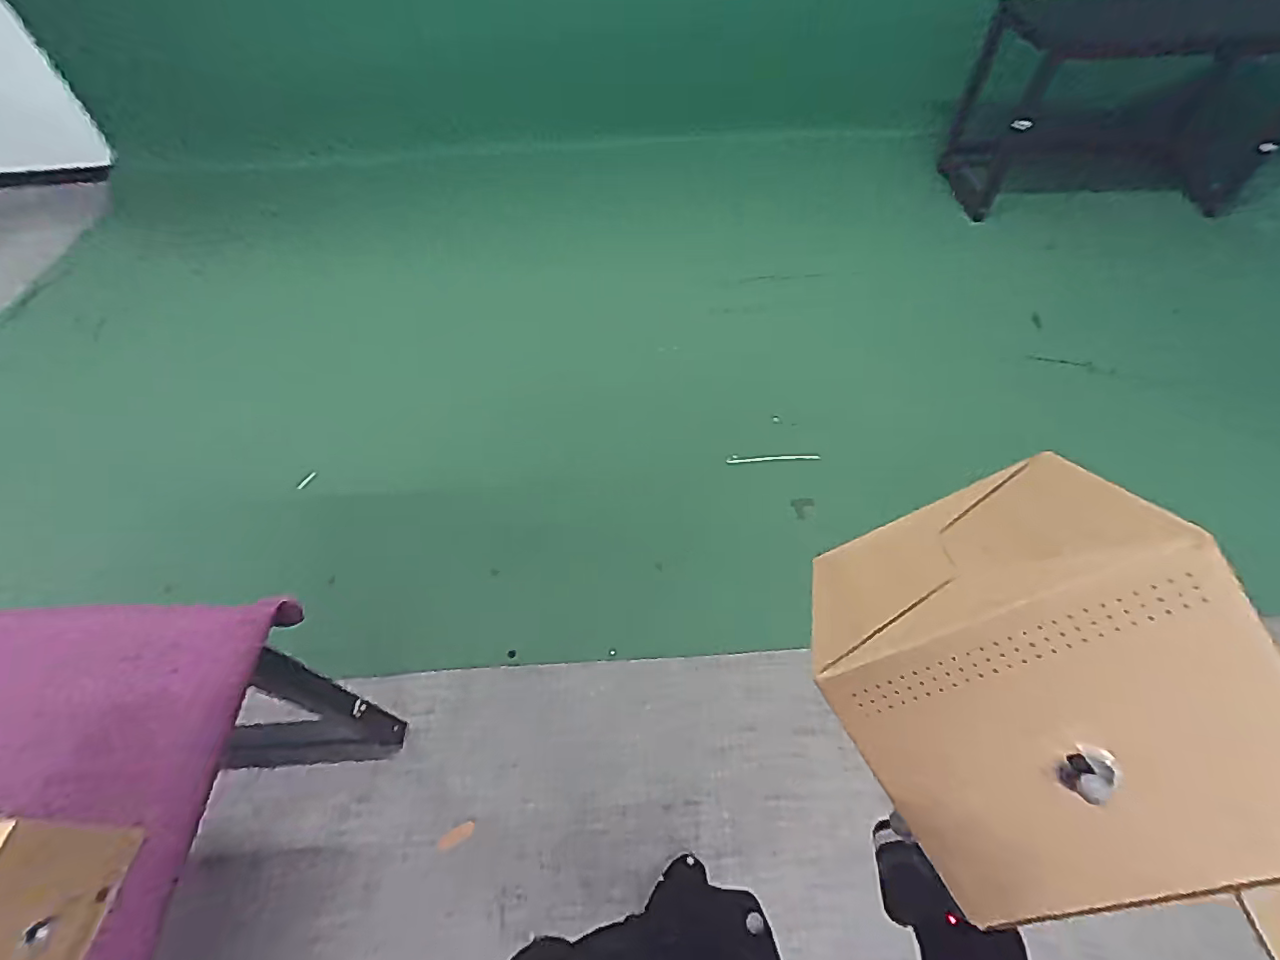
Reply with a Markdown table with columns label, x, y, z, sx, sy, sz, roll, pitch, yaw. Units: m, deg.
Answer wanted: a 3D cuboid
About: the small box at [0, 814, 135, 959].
| label | x | y | z | sx | sy | sz | roll | pitch | yaw |
| --- | --- | --- | --- | --- | --- | --- | --- | --- | --- |
| small box | -0.681 | 0.430 | 0.536 | 0.179 | 0.176 | 0.168 | 2 | 54 | 3 |
